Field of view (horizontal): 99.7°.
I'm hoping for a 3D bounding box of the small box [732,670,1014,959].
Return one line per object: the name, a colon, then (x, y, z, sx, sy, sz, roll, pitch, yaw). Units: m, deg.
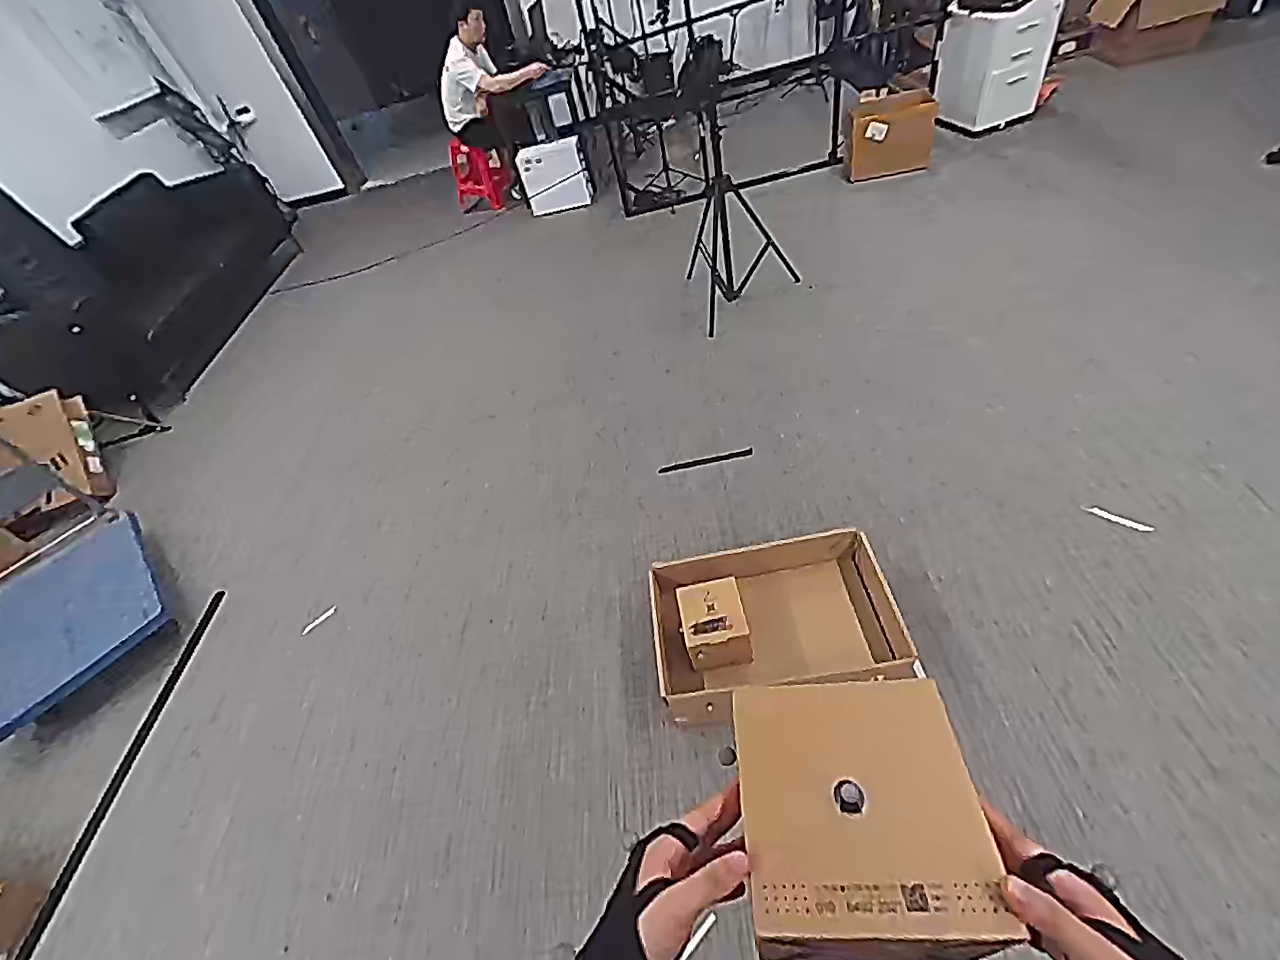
small box: (0.172, 0.281, 0.452, 0.168, 0.179, 0.176, -5, 44, 8)
